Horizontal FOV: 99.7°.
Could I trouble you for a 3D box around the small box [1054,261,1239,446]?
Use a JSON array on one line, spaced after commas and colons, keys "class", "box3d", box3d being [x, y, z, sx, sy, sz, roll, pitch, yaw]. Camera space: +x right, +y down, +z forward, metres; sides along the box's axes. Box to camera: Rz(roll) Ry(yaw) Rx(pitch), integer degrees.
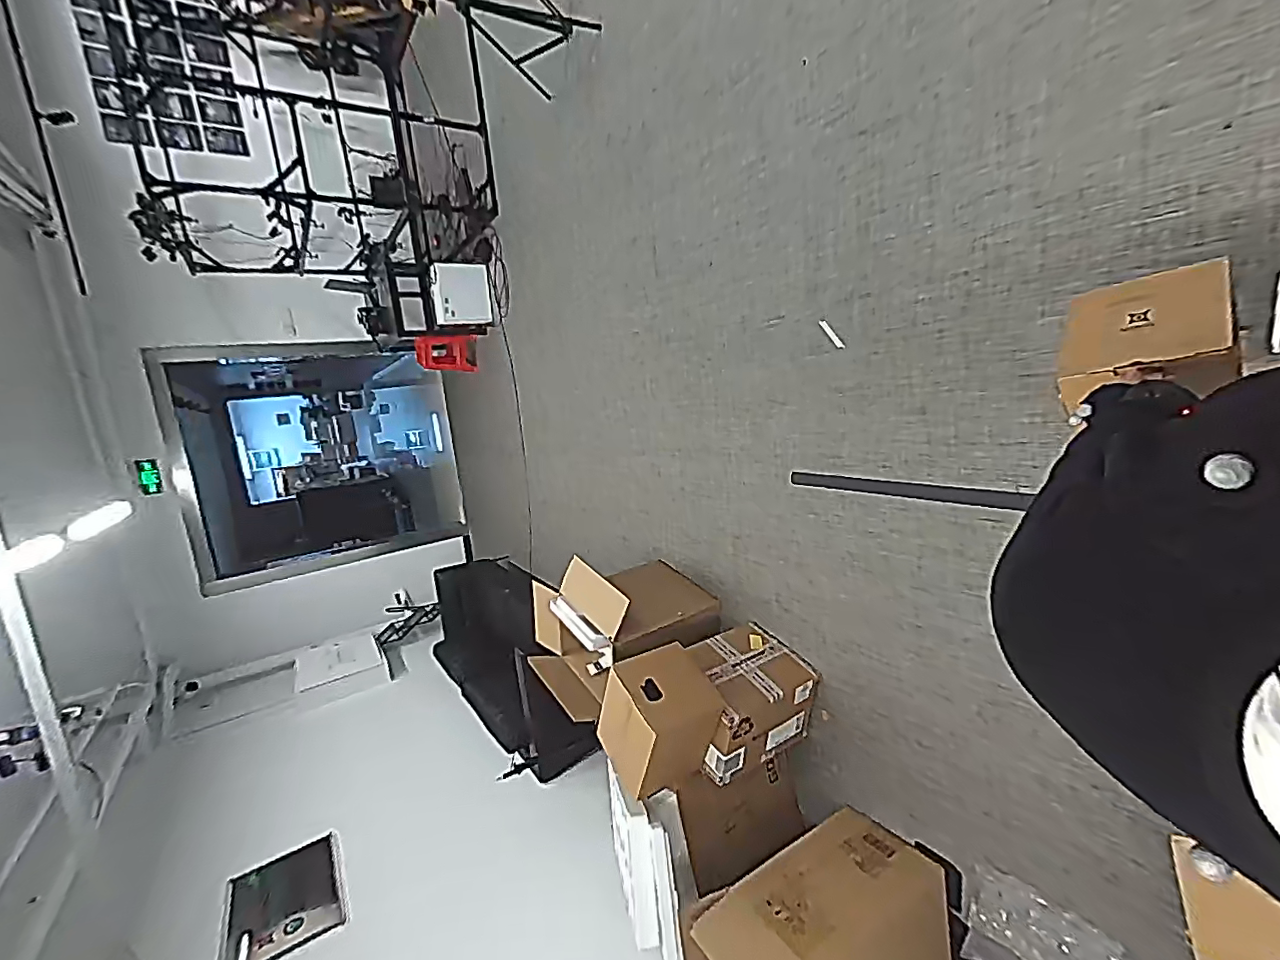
[{"class": "small box", "box3d": [0.708, -0.160, 0.756, 0.168, 0.179, 0.176, -5, 138, 49]}]
